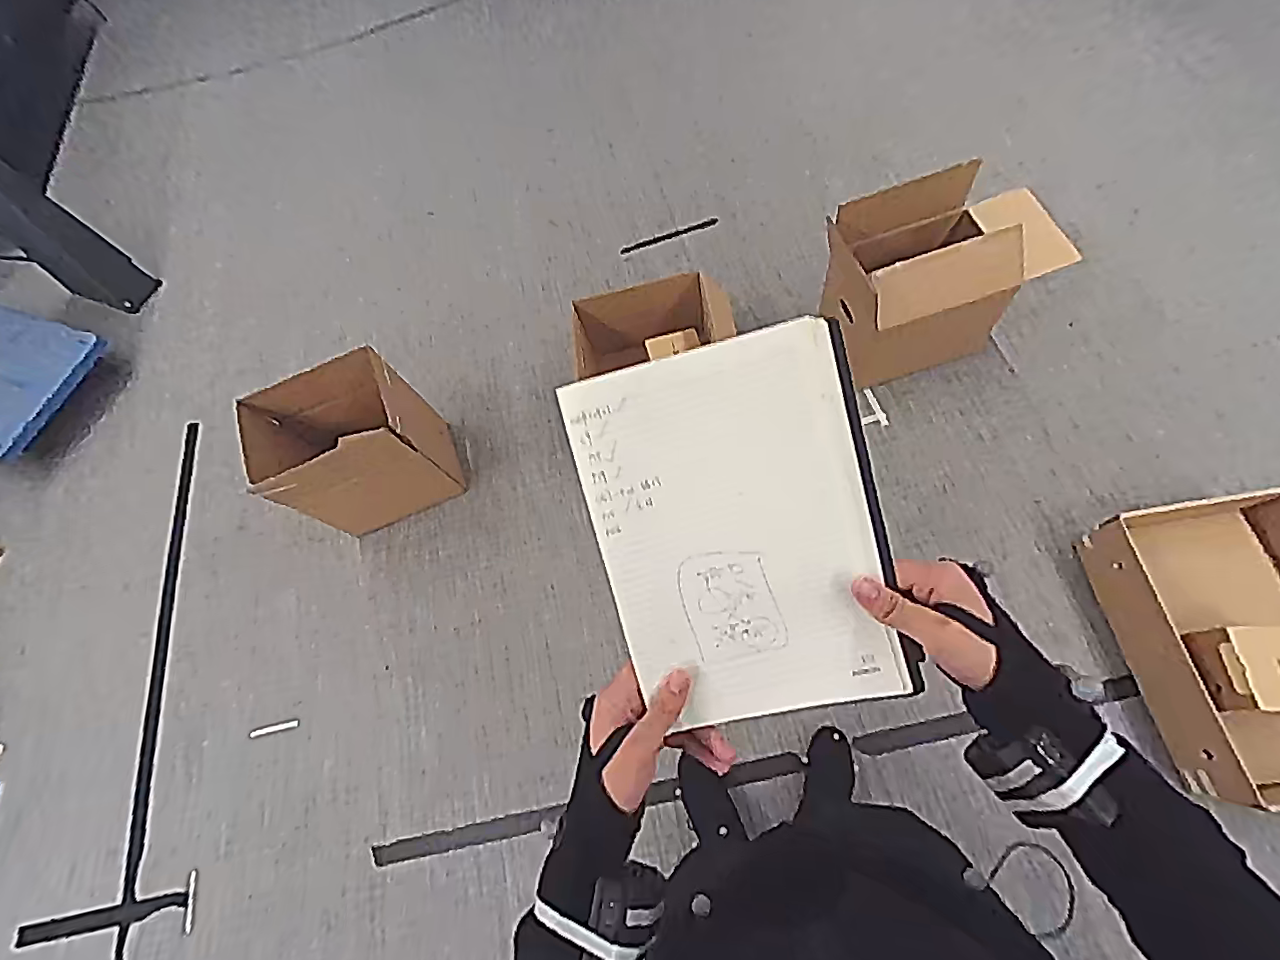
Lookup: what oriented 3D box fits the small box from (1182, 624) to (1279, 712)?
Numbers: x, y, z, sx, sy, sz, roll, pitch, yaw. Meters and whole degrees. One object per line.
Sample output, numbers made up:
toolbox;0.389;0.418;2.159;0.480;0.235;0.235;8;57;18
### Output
small box;1.326;0.405;1.155;0.179;0.176;0.168;-3;67;9
